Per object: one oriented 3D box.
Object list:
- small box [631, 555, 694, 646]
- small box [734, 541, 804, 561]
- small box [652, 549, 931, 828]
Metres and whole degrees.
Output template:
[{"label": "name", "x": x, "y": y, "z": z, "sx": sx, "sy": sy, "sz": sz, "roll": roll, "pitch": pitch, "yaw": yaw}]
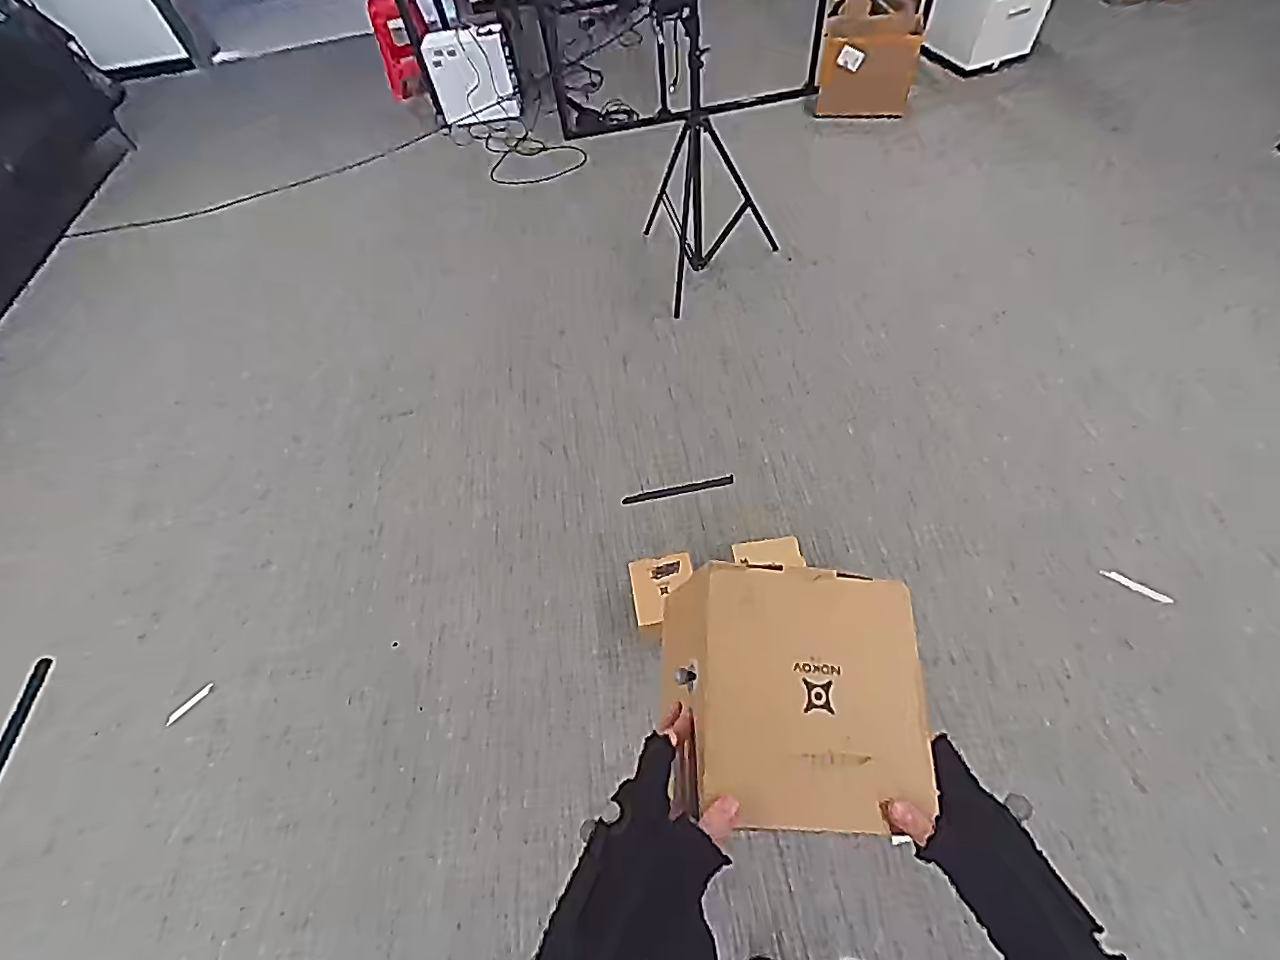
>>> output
[{"label": "small box", "x": 0.073, "y": 0.326, "z": 1.454, "sx": 0.168, "sy": 0.176, "sz": 0.179, "roll": -11, "pitch": 57, "yaw": 1}, {"label": "small box", "x": 0.345, "y": 0.279, "z": 1.452, "sx": 0.179, "sy": 0.176, "sz": 0.168, "roll": -7, "pitch": 57, "yaw": 2}, {"label": "small box", "x": 0.108, "y": 0.171, "z": 0.456, "sx": 0.168, "sy": 0.176, "sz": 0.179, "roll": 7, "pitch": 67, "yaw": -7}]
